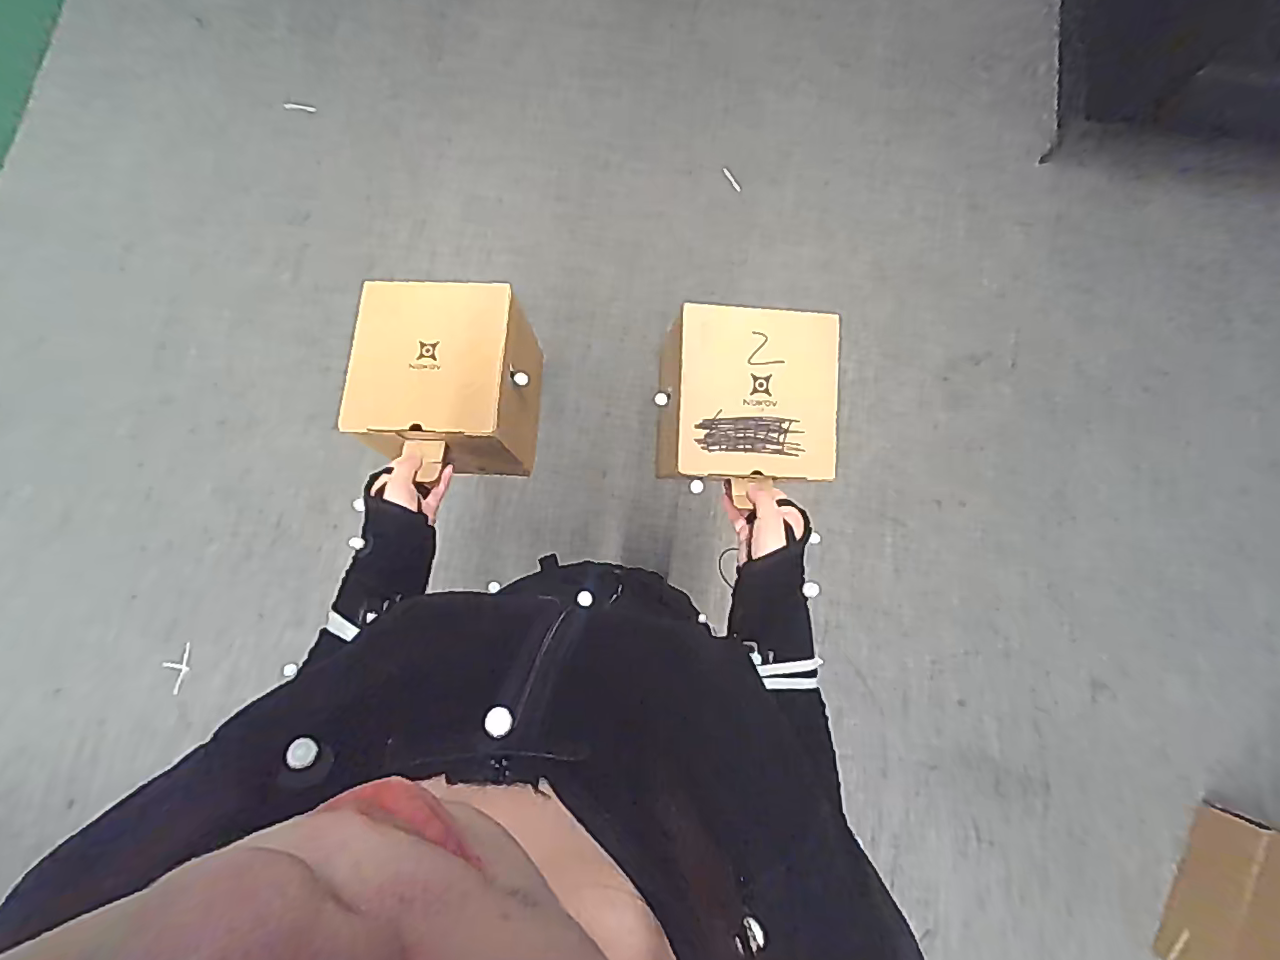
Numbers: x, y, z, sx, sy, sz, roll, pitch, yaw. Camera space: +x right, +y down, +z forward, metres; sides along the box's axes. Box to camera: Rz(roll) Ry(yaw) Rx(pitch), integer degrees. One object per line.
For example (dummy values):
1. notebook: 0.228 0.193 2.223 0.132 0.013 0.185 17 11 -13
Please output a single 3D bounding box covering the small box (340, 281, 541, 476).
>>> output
1. small box: -0.220 -0.112 0.649 0.168 0.176 0.179 3 77 2
